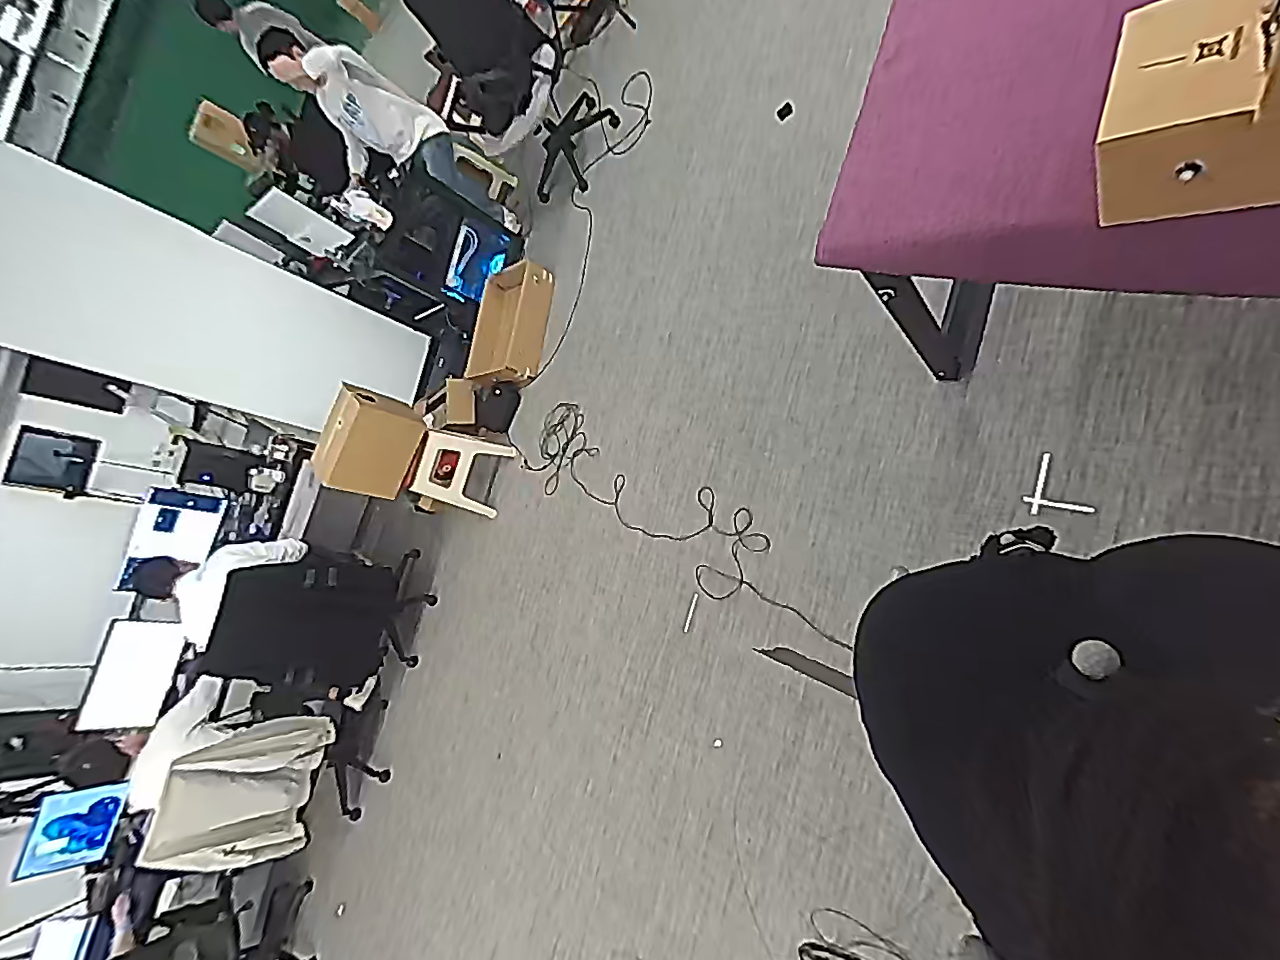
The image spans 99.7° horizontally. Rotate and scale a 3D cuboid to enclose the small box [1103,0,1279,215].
[{"bbox_3d":[0.646,-0.426,0.595,0.179,0.176,0.168,13,85,45],"label":"small box"}]
